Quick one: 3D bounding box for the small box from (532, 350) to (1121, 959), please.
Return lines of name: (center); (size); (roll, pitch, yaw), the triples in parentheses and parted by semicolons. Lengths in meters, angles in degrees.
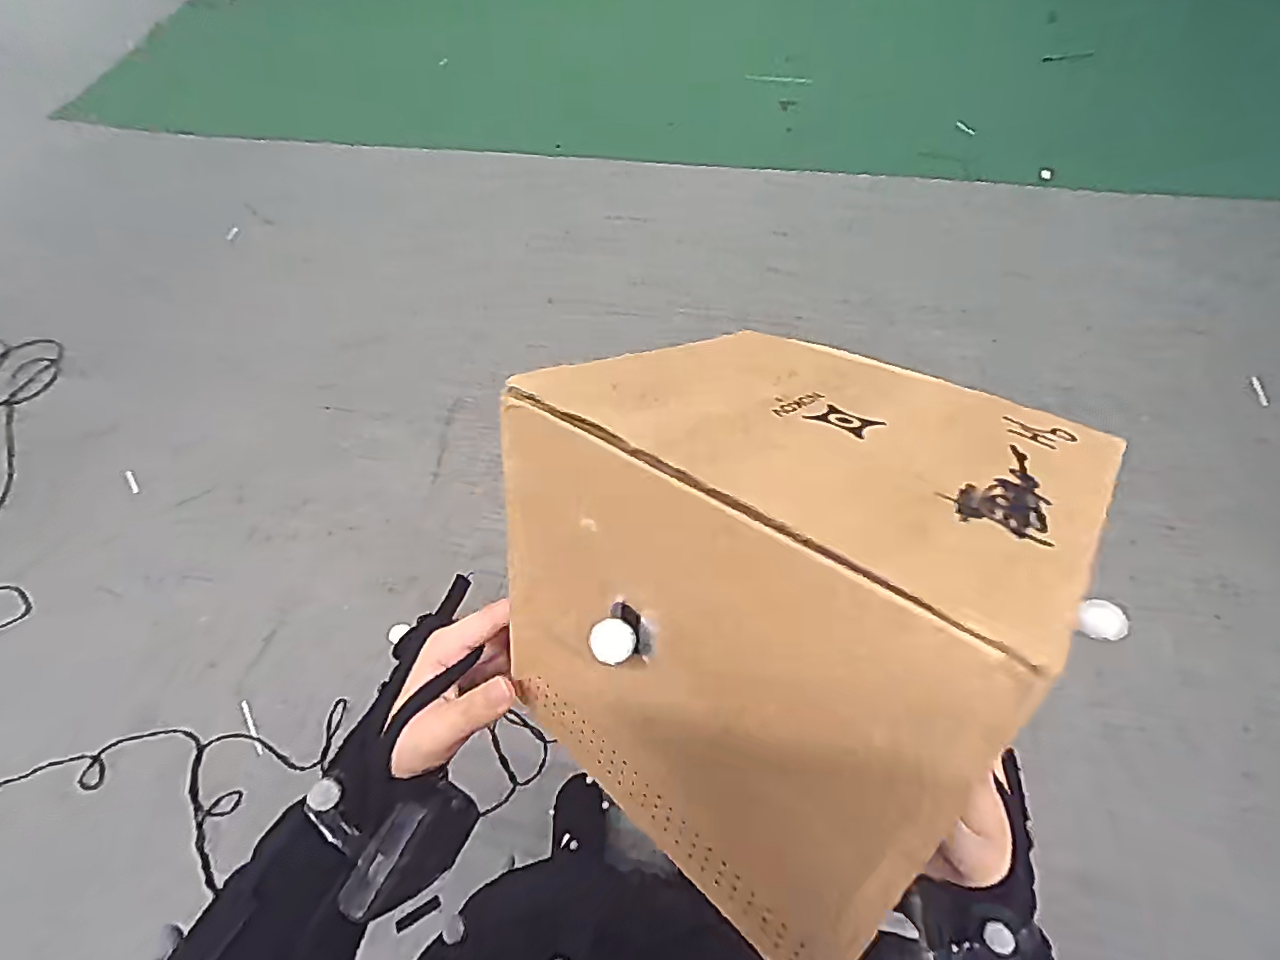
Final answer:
small box: (0.067, 0.054, 0.247); (0.179, 0.176, 0.168); (28, 37, 33)
